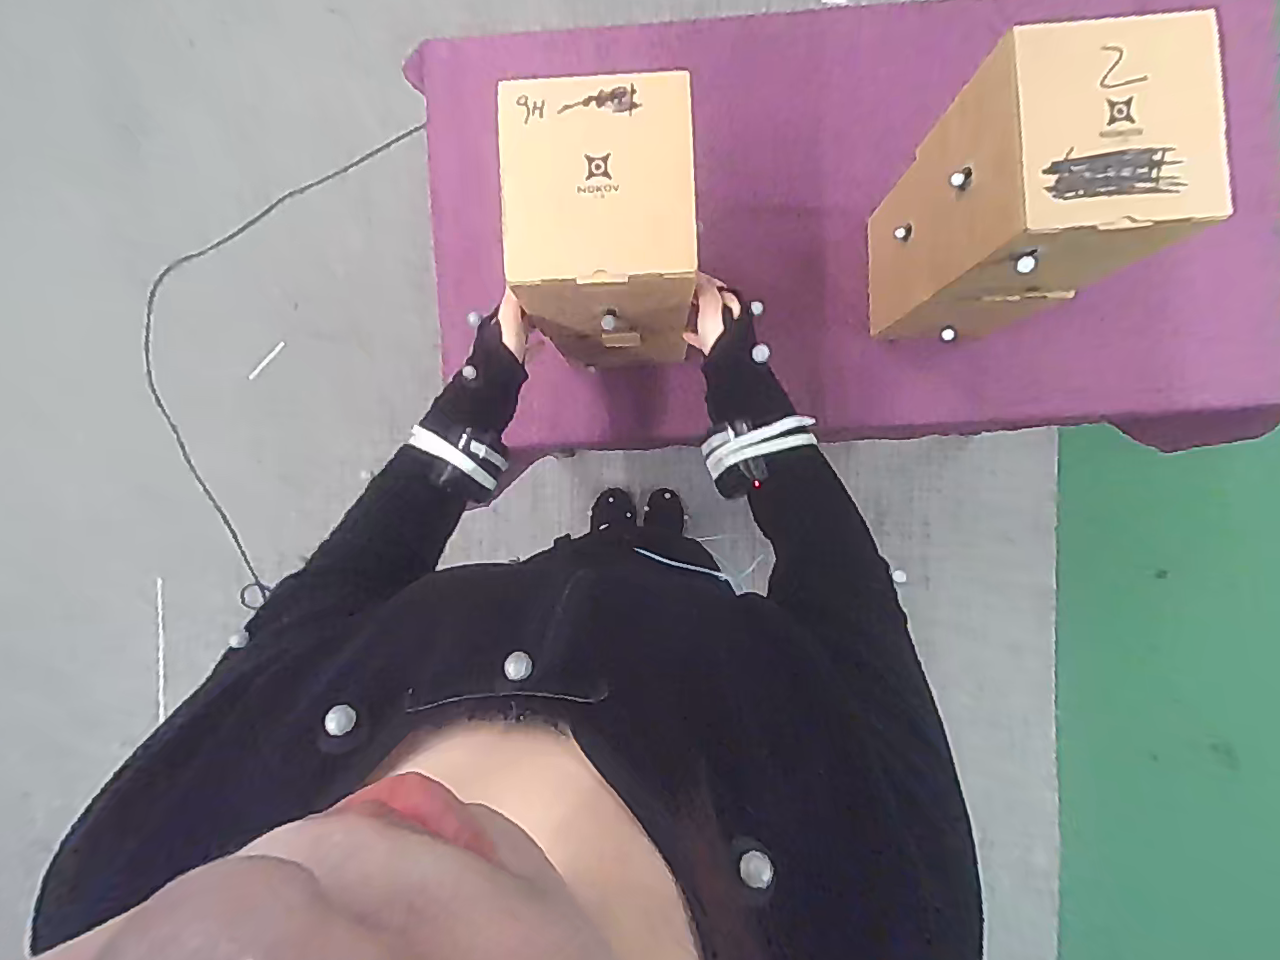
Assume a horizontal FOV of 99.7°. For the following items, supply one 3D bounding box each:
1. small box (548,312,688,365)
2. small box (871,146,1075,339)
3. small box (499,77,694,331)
[{"bbox_3d":[-0.026,-0.251,0.702,0.168,0.176,0.179,-4,89,1],"label":"small box"},{"bbox_3d":[0.406,-0.288,0.687,0.168,0.176,0.179,0,90,2],"label":"small box"},{"bbox_3d":[-0.034,-0.252,0.538,0.168,0.176,0.179,-2,91,1],"label":"small box"}]
